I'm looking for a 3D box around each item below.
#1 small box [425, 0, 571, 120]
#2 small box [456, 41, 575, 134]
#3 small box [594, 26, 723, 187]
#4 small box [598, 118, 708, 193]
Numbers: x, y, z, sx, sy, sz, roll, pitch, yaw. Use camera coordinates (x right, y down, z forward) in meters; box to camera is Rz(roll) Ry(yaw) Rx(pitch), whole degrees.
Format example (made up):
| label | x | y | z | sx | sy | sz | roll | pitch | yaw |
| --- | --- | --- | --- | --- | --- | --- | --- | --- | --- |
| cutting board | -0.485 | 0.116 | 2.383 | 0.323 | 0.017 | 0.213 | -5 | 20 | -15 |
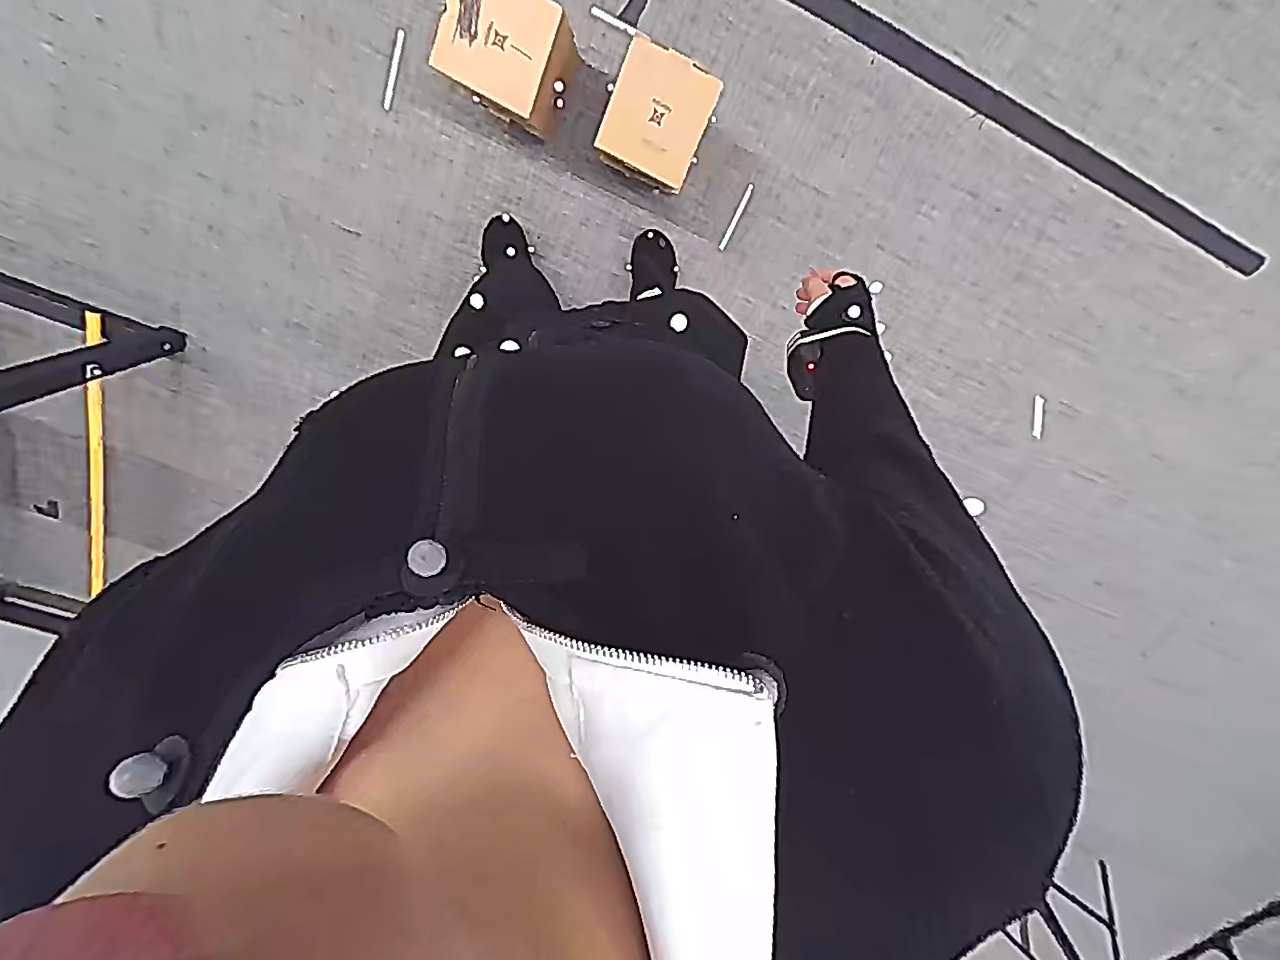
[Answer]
| label | x | y | z | sx | sy | sz | roll | pitch | yaw |
| --- | --- | --- | --- | --- | --- | --- | --- | --- | --- |
| small box | -0.233 | -0.745 | 0.921 | 0.179 | 0.176 | 0.168 | 23 | 115 | -12 |
| small box | -0.238 | -0.818 | 1.070 | 0.168 | 0.176 | 0.179 | 24 | 116 | -12 |
| small box | 0.028 | -0.655 | 0.973 | 0.168 | 0.176 | 0.179 | 23 | 117 | -11 |
| small box | 0.027 | -0.721 | 1.123 | 0.179 | 0.176 | 0.168 | 20 | 116 | -11 |
